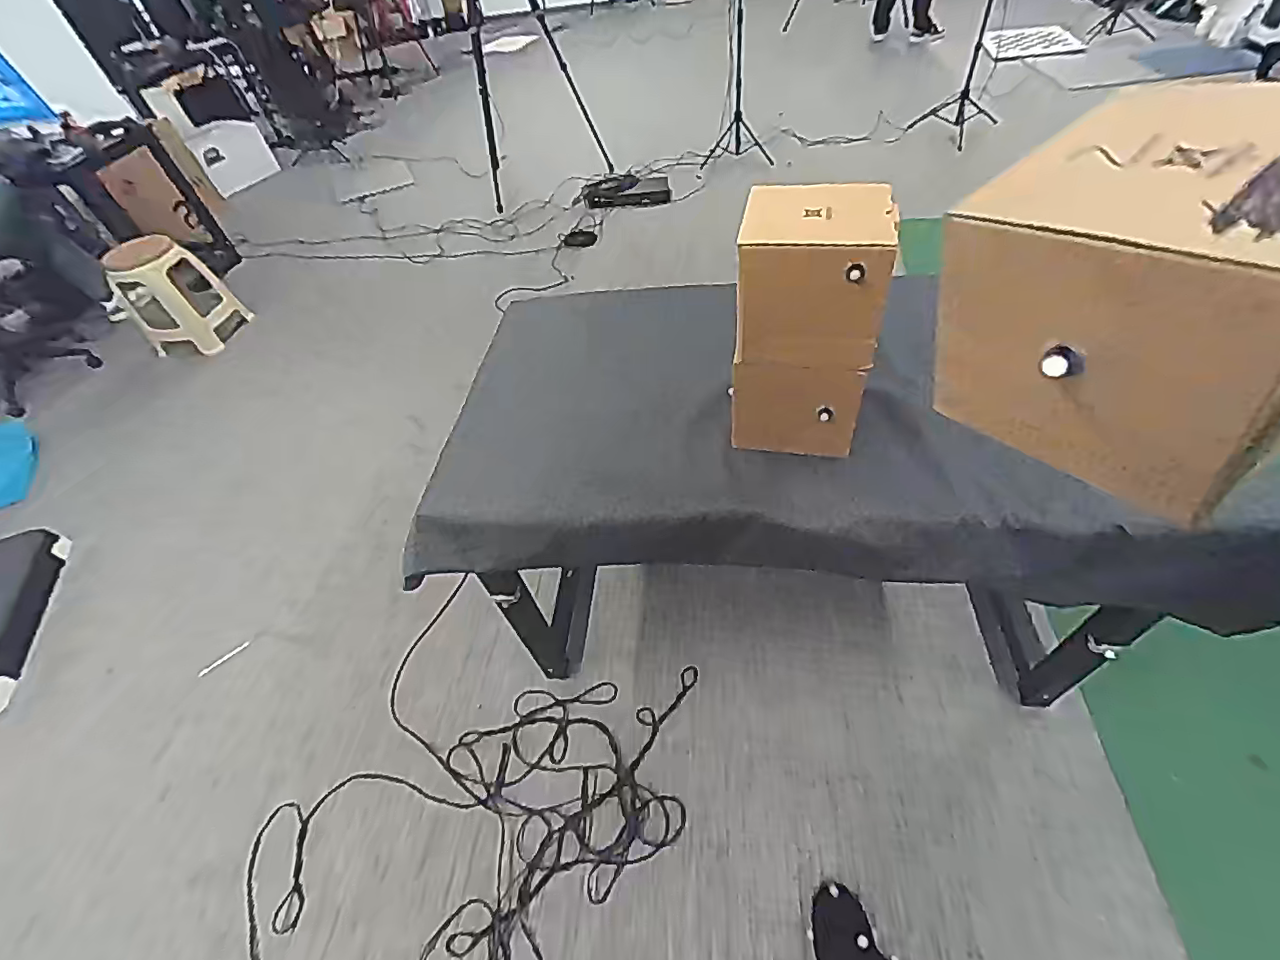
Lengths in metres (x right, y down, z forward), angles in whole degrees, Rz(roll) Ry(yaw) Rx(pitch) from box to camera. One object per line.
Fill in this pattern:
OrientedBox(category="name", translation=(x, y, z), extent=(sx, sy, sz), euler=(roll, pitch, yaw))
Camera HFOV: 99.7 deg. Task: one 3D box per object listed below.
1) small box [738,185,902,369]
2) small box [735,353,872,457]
OrientedBox(category="small box", translation=(0.224, -0.261, 0.702), extent=(0.179, 0.176, 0.168), euler=(7, 50, 14))
OrientedBox(category="small box", translation=(0.243, -0.151, 0.821), extent=(0.179, 0.176, 0.168), euler=(6, 50, 15))
